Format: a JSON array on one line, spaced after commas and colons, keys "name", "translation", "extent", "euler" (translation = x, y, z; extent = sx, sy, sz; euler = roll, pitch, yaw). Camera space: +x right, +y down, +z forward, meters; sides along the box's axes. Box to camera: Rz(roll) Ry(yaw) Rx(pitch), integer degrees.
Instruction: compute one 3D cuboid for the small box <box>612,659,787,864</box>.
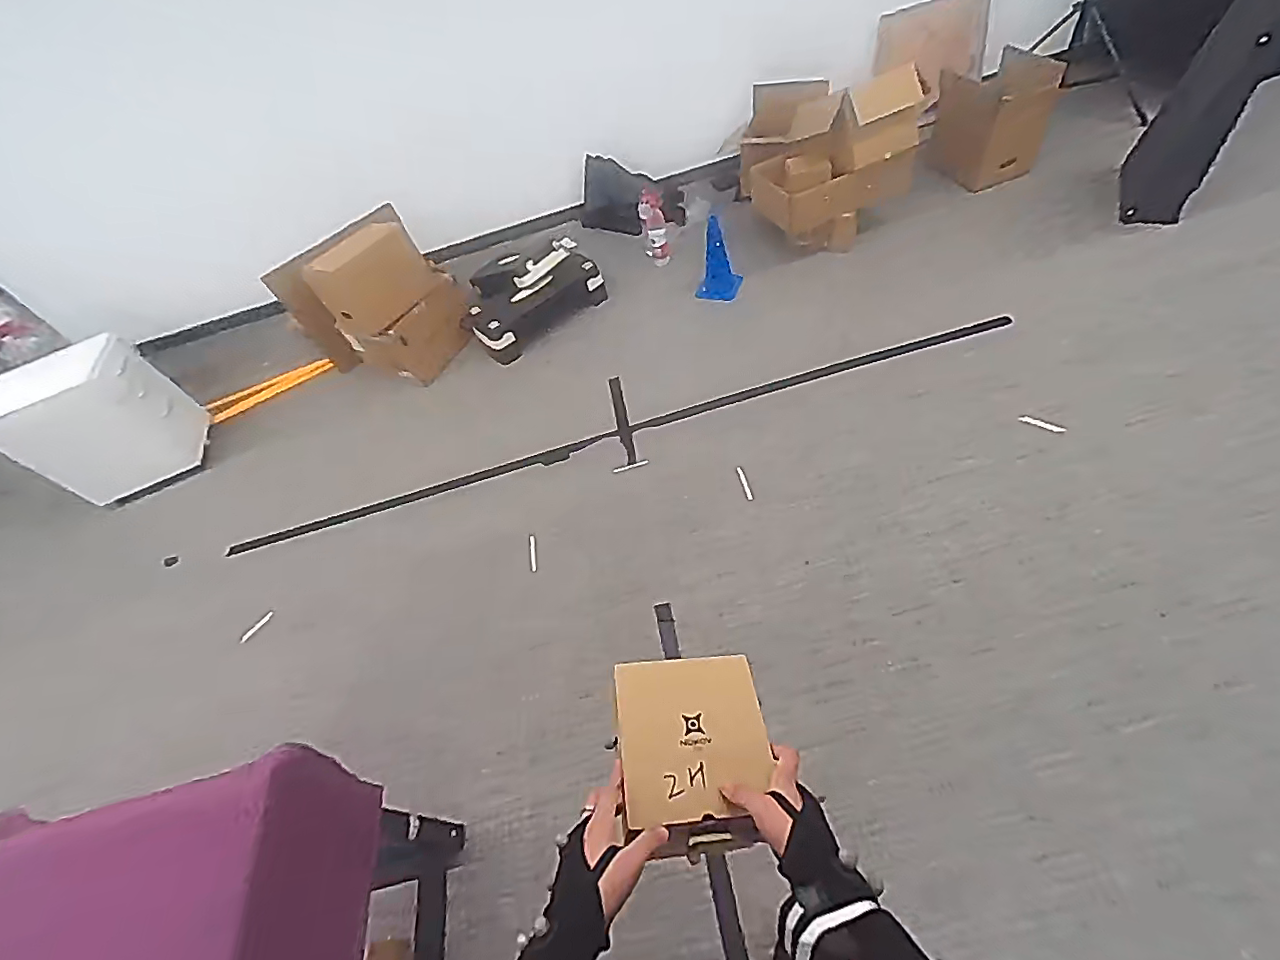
[{"name": "small box", "translation": [0.055, 0.338, 0.654], "extent": [0.168, 0.176, 0.179], "euler": [-1, 47, -7]}]
